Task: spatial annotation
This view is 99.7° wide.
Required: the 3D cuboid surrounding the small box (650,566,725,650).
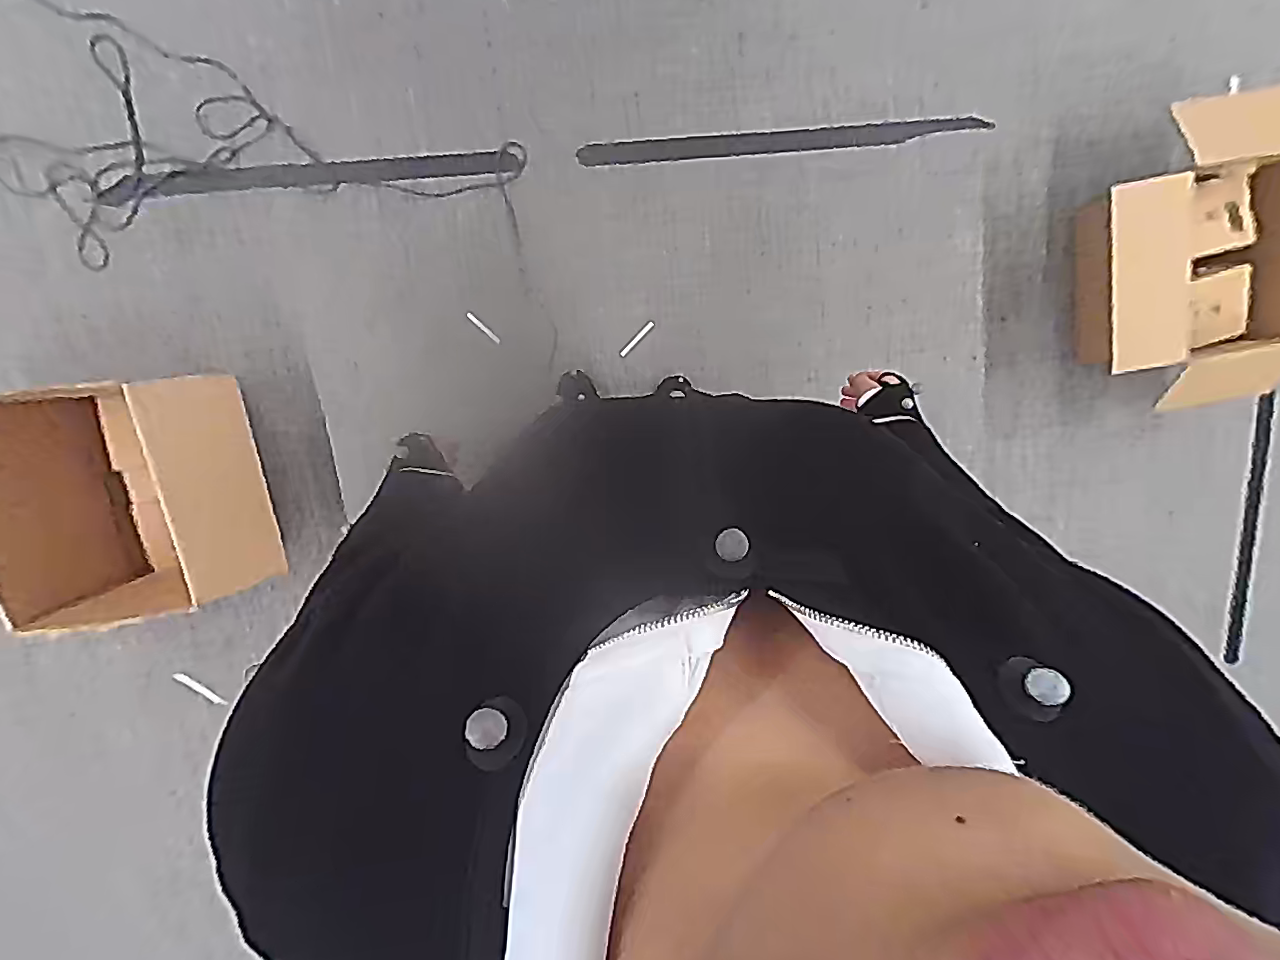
[{"bbox_3d":[0.122,0.334,1.439,0.179,0.176,0.168,-5,99,-1],"label":"small box"}]
